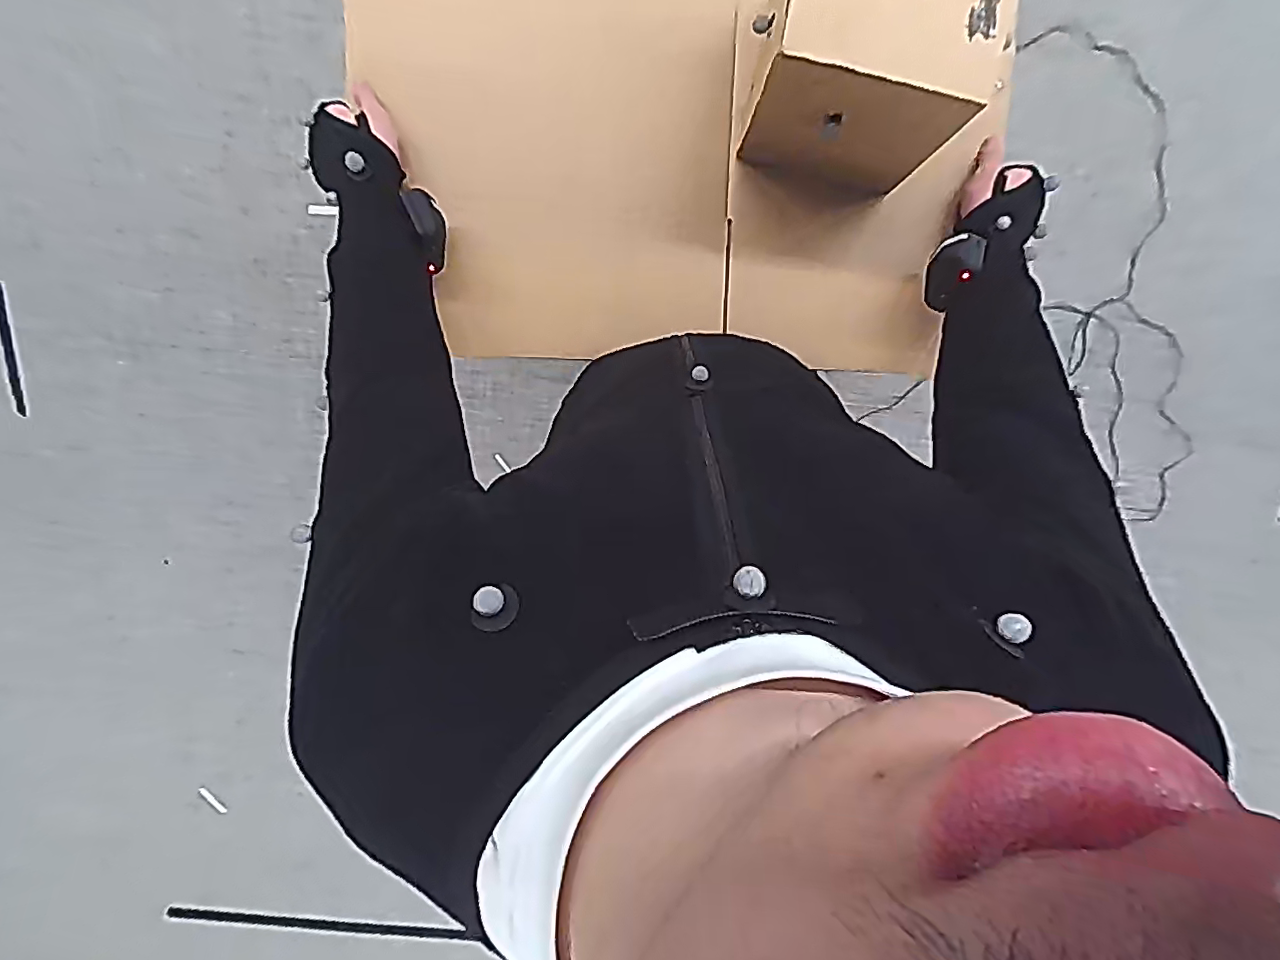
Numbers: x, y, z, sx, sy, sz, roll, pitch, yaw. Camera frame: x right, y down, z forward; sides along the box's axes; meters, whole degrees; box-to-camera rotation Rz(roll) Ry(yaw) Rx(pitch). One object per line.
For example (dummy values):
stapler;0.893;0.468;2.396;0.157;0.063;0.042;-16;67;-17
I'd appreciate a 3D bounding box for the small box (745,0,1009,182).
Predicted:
small box;0.209;-0.409;0.504;0.179;0.176;0.168;12;96;-1
